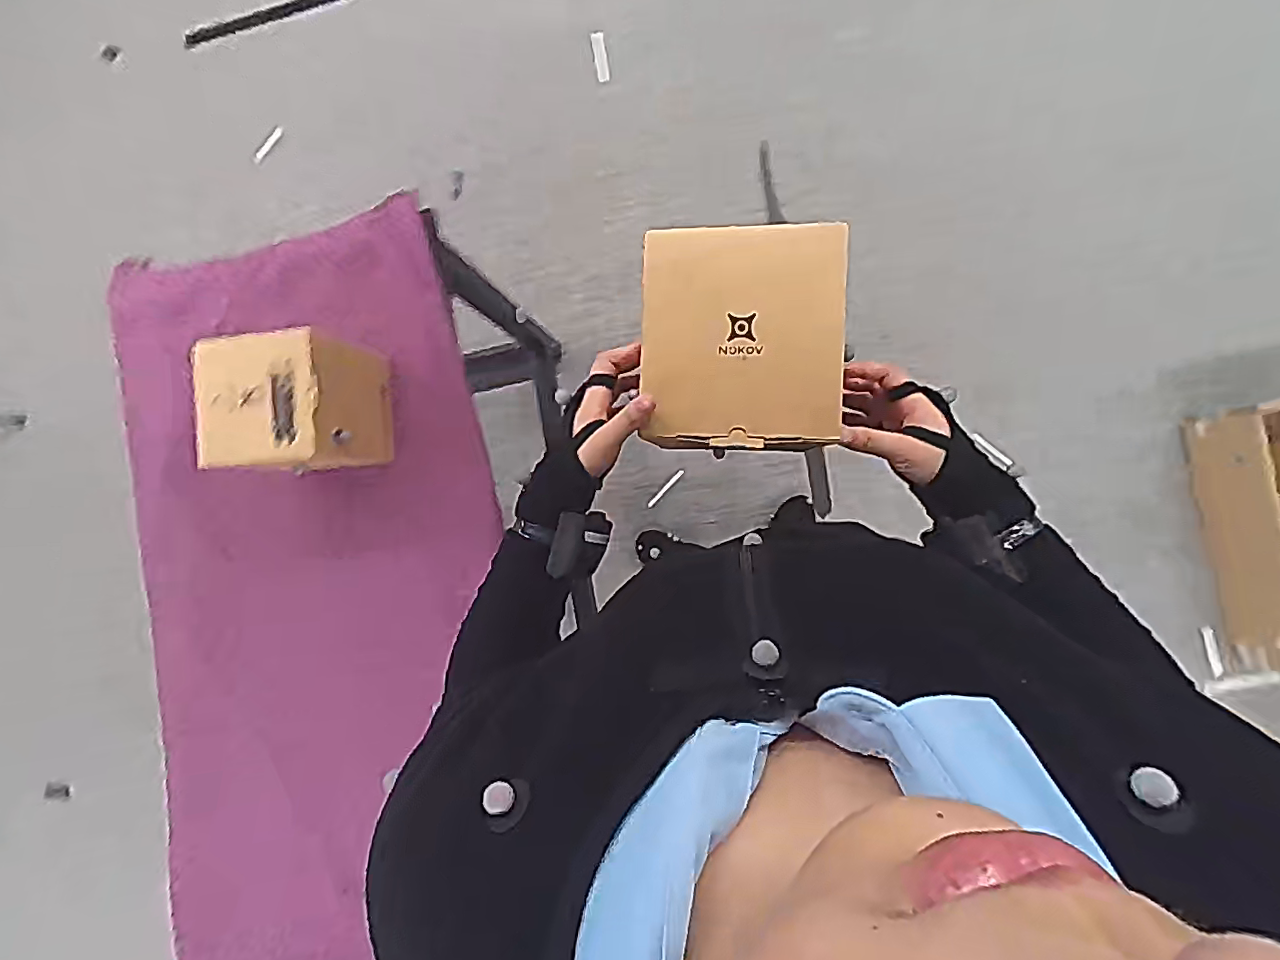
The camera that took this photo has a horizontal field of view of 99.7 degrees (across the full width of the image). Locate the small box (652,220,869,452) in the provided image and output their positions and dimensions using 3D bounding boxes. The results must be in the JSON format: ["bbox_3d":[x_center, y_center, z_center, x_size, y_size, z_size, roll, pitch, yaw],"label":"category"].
[{"bbox_3d":[0.105,-0.122,0.515,0.168,0.176,0.179,3,91,7],"label":"small box"}]

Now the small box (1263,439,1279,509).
[{"bbox_3d":[1.546,-0.026,1.187,0.179,0.176,0.168,-13,88,7],"label":"small box"}]
